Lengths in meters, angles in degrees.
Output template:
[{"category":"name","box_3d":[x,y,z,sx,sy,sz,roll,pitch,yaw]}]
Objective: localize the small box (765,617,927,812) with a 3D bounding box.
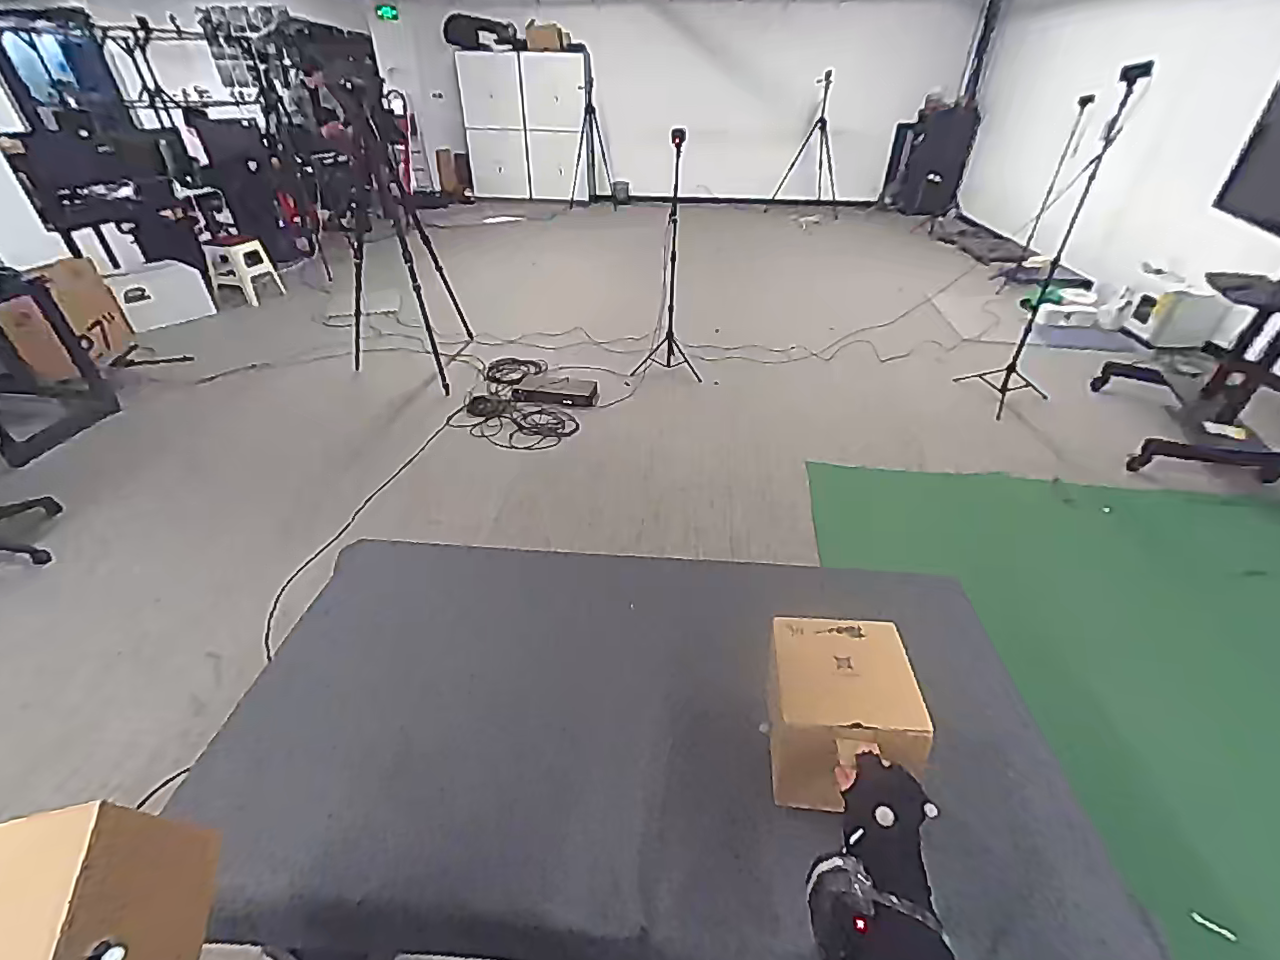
[{"category":"small box","box_3d":[0.259,0.311,0.725,0.168,0.176,0.179,2,31,9]}]

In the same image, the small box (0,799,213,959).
[{"category":"small box","box_3d":[-0.443,0.354,0.376,0.168,0.176,0.179,-9,50,-13]}]
